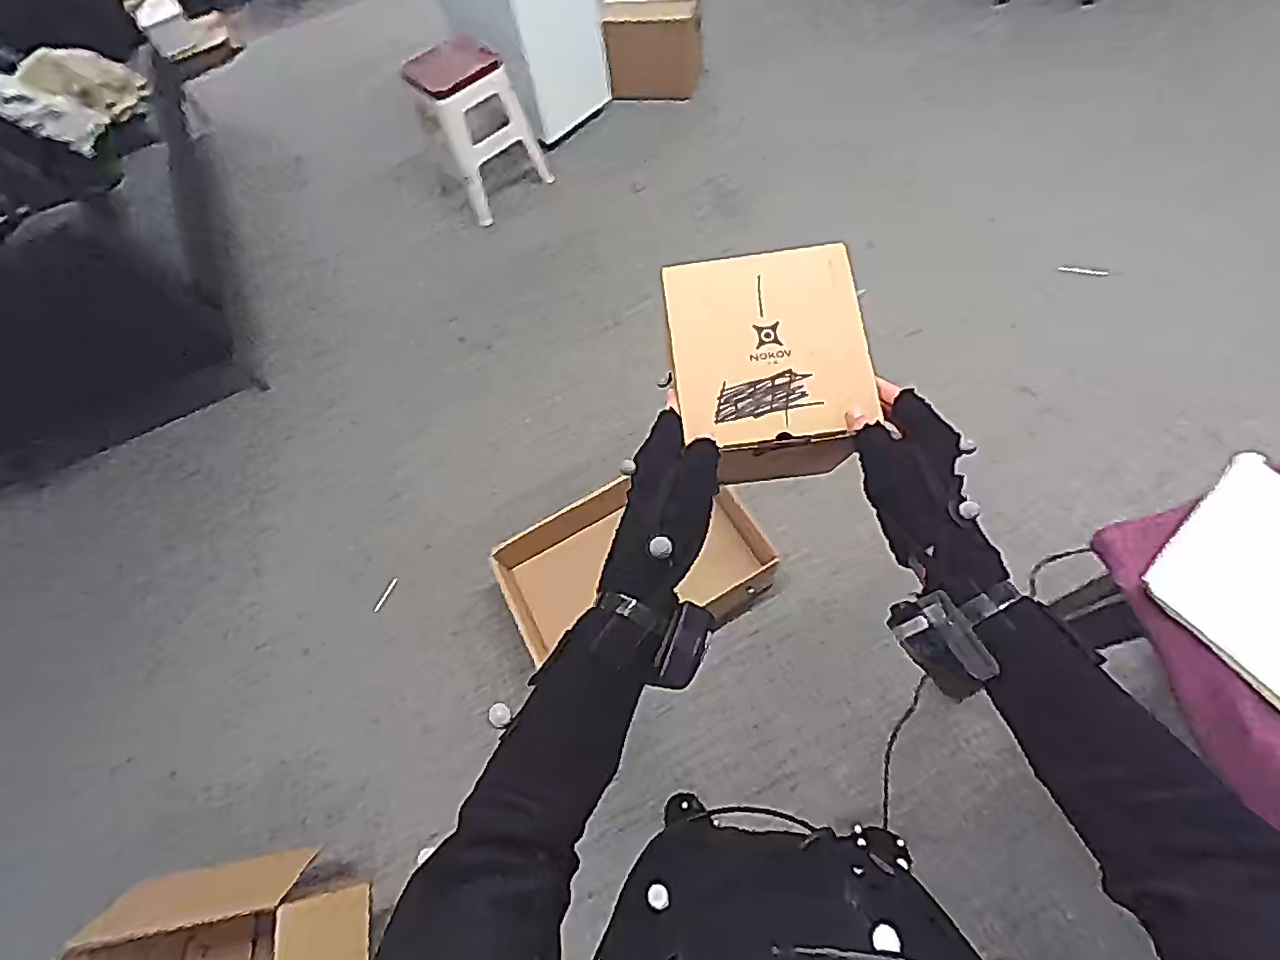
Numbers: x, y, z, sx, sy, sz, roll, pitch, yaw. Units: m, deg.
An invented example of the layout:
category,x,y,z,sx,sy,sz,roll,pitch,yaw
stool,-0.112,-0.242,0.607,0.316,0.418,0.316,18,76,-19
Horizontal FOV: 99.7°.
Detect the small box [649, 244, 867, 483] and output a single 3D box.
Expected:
category,x,y,z,sx,sy,sz,roll,pitch,yaw
small box,0.103,-0.098,0.540,0.168,0.176,0.179,-7,77,2
